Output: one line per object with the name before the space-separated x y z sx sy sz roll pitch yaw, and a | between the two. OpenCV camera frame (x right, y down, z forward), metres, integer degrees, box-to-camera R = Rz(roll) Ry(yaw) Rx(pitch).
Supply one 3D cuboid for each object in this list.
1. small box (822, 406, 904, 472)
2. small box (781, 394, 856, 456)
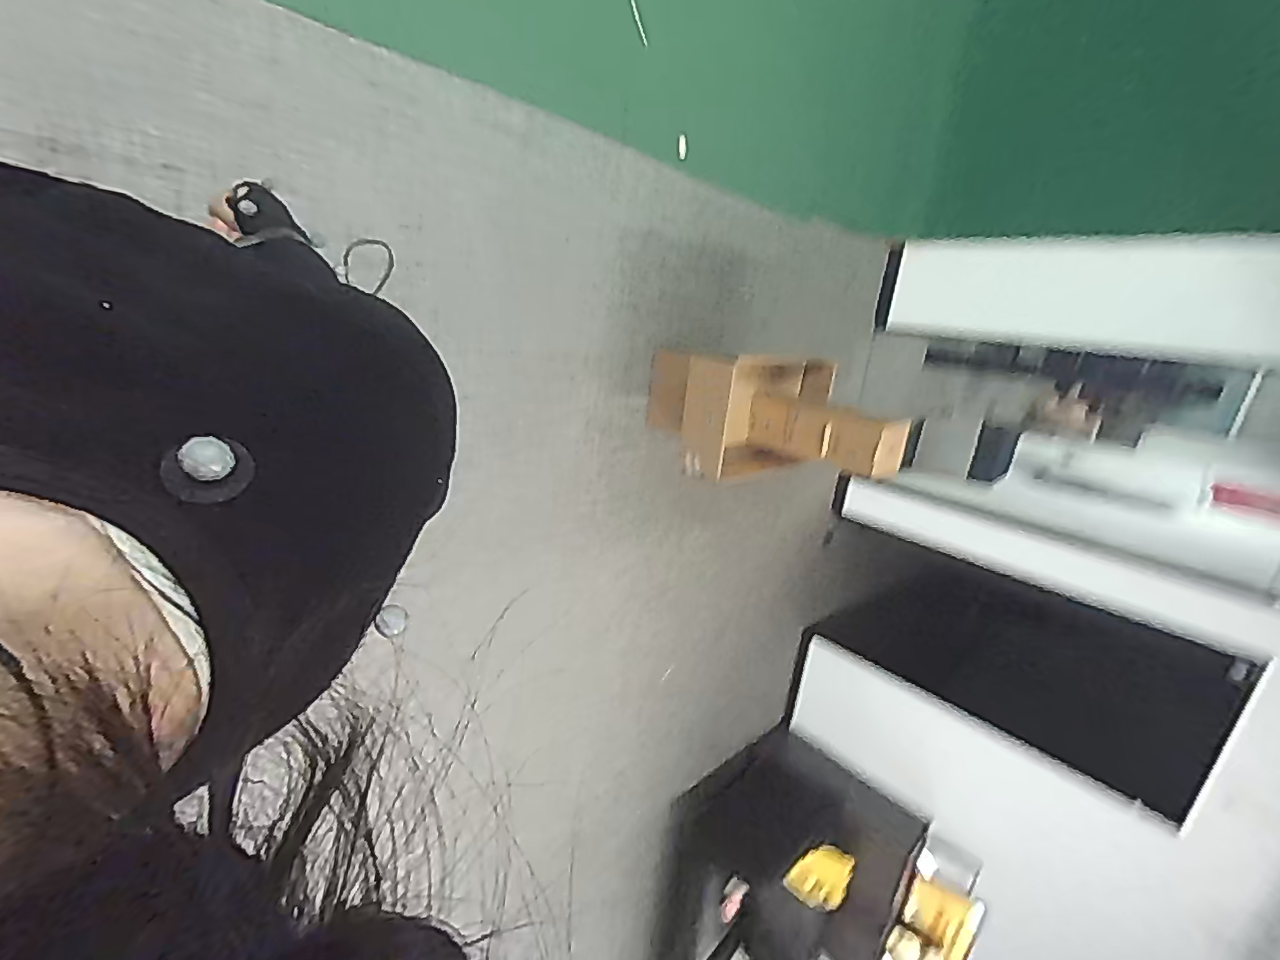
small box | 0.706 -0.137 1.725 0.179 0.176 0.168 -12 116 -39
small box | 0.601 -0.192 1.837 0.179 0.176 0.168 -16 118 -38
